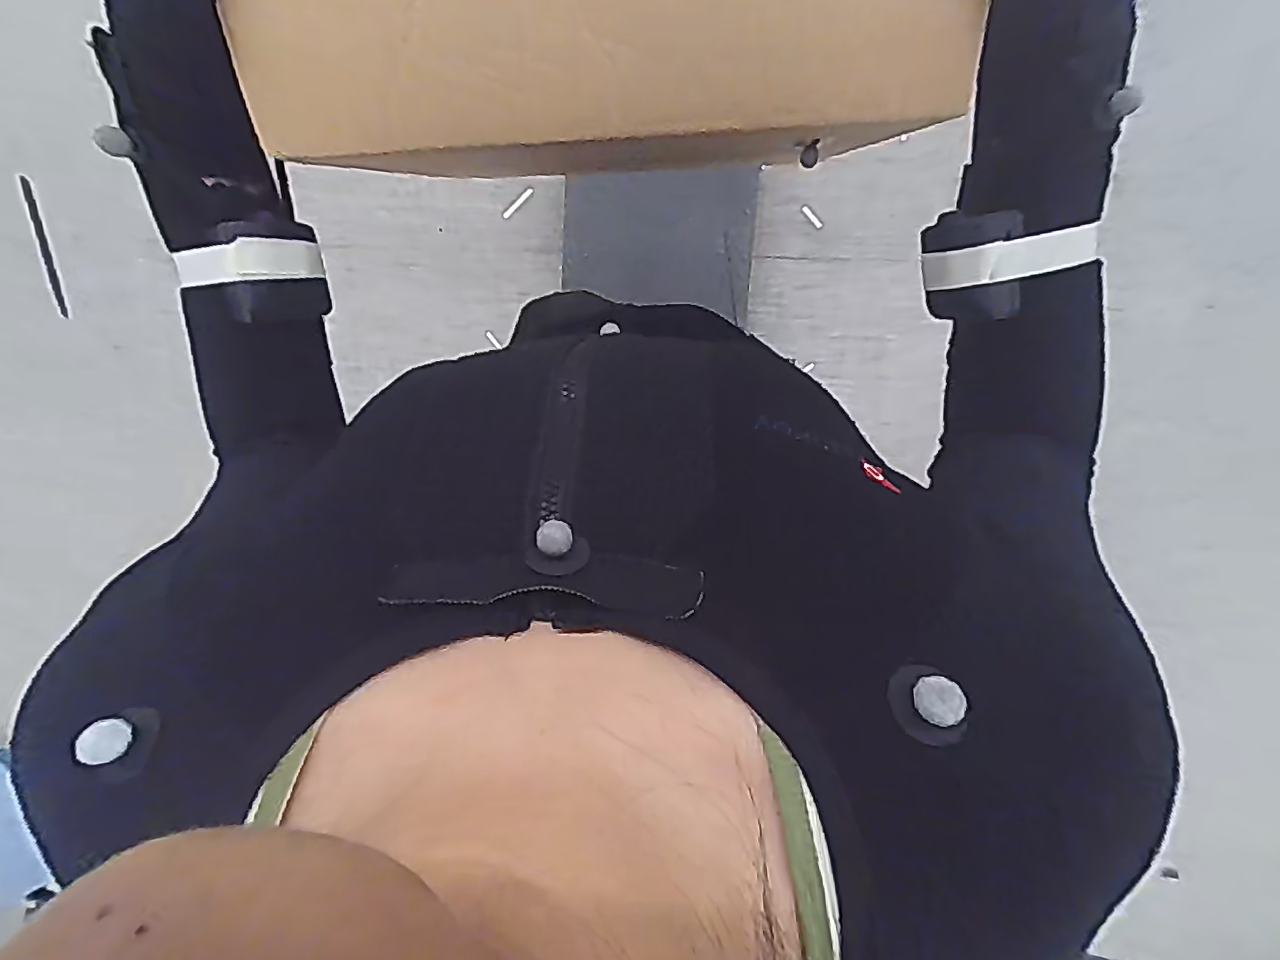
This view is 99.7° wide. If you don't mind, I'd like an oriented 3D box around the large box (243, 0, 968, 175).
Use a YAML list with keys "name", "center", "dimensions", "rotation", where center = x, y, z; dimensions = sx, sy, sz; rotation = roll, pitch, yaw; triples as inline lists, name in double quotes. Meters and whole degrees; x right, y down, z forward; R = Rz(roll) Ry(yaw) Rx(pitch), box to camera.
- name: "large box"
  center: [-0.019, -0.409, 0.386]
  dimensions: [0.408, 0.320, 0.320]
  rotation: [-1, 117, 4]
